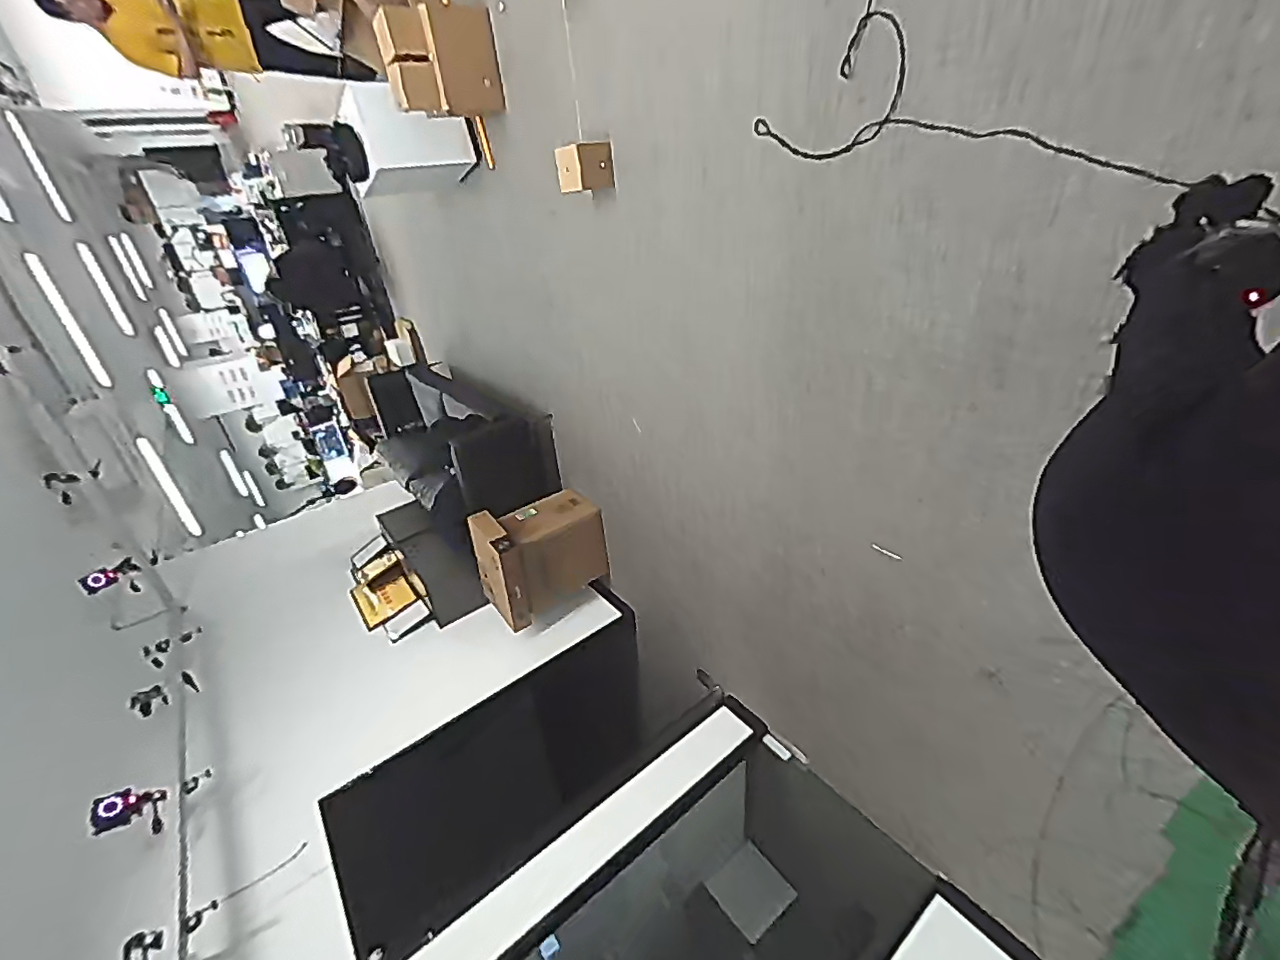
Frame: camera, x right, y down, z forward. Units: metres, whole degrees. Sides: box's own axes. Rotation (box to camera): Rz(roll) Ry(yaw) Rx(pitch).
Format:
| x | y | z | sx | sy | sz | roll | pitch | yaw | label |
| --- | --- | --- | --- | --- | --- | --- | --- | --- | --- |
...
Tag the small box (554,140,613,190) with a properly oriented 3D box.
| x | y | z | sx | sy | sz | roll | pitch | yaw | label |
| --- | --- | --- | --- | --- | --- | --- | --- | --- | --- |
| -0.233 | -1.317 | 2.263 | 0.179 | 0.176 | 0.168 | 28 | 135 | 46 | small box |
